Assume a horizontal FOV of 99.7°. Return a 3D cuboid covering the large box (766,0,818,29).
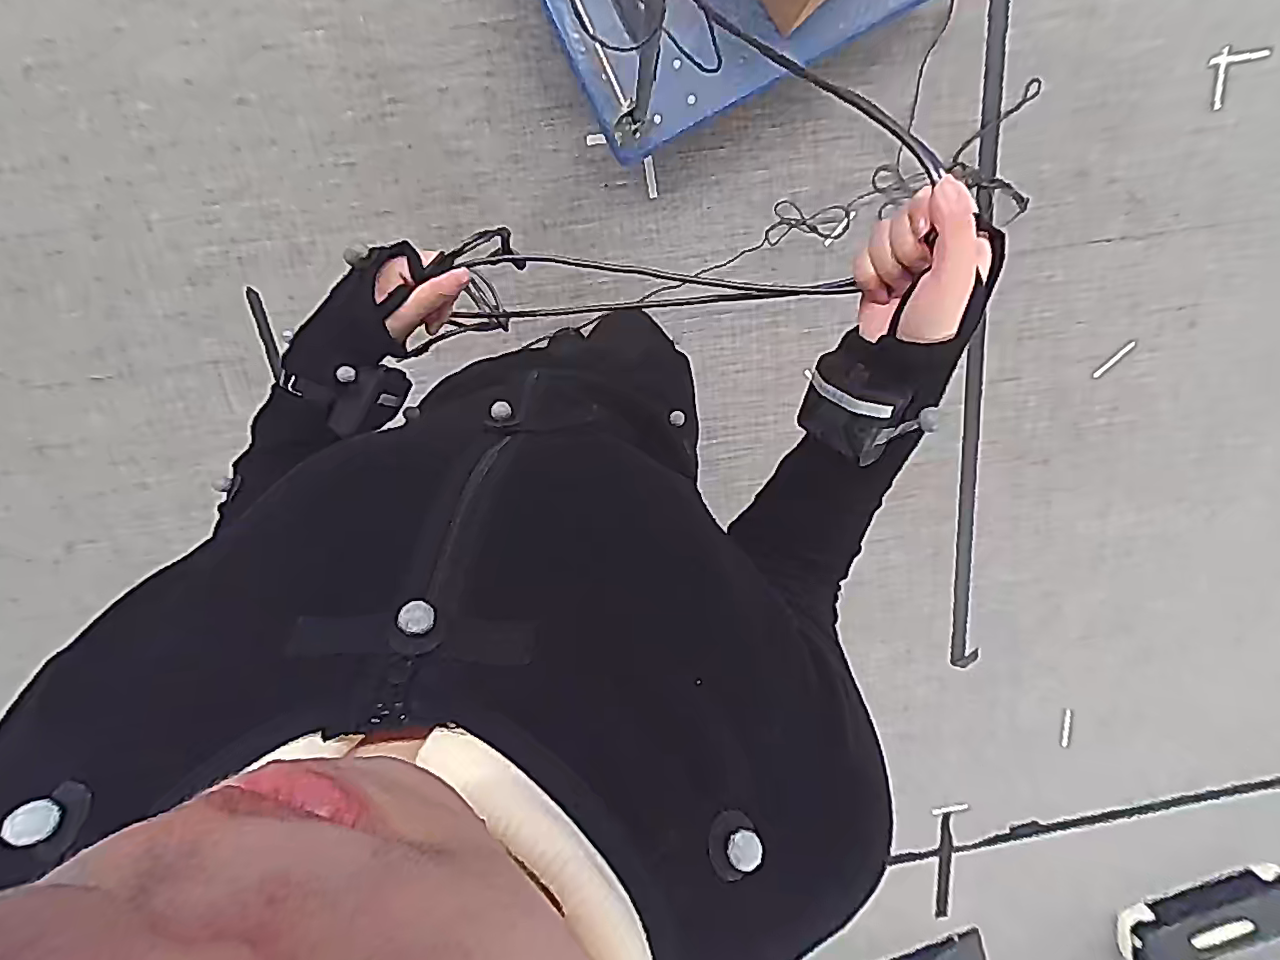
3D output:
[{"bbox_3d":[0.285,-1.095,0.875,0.320,0.320,0.408,-41,106,9],"label":"large box"}]
